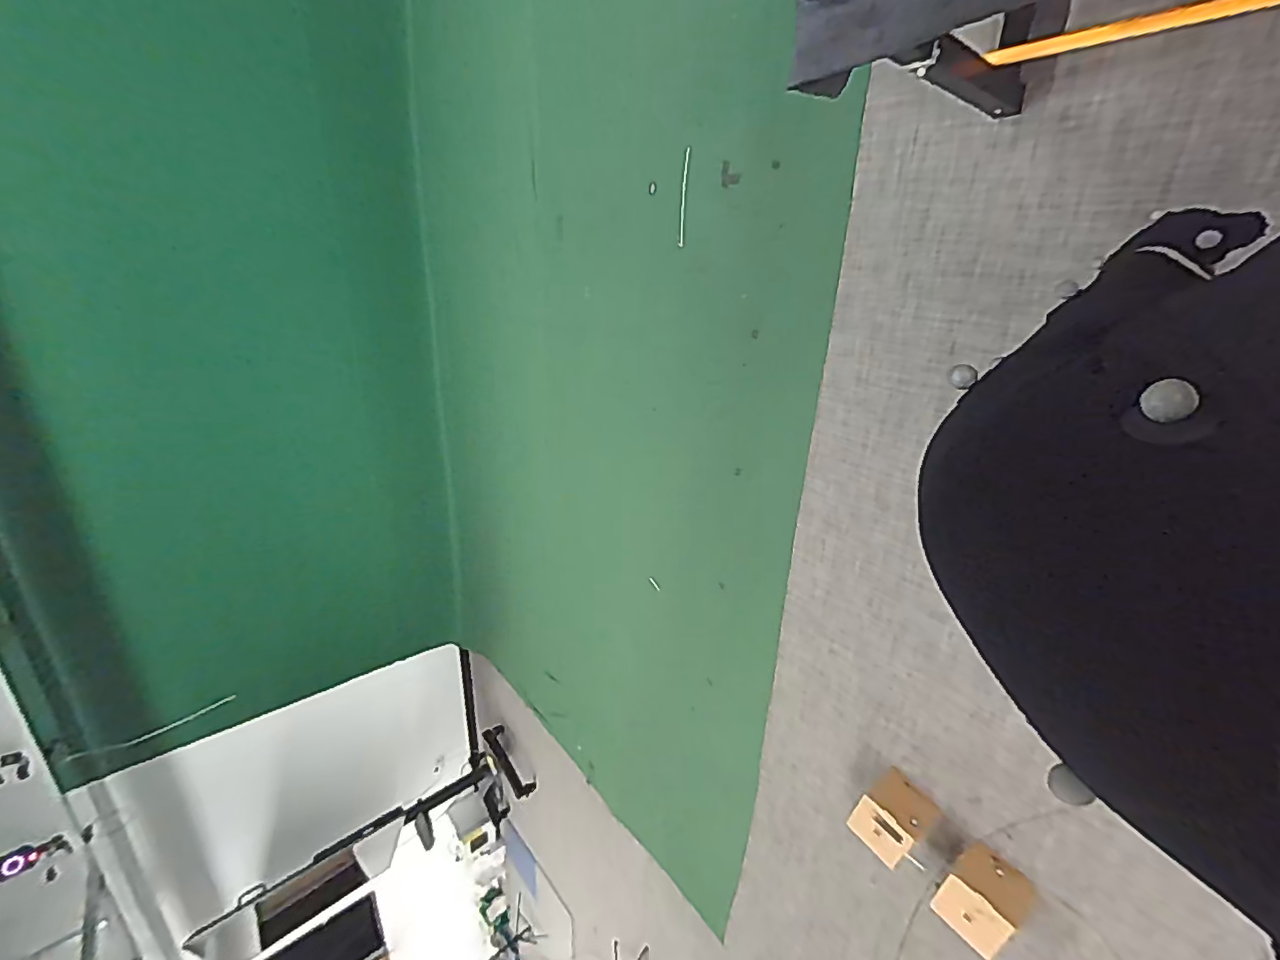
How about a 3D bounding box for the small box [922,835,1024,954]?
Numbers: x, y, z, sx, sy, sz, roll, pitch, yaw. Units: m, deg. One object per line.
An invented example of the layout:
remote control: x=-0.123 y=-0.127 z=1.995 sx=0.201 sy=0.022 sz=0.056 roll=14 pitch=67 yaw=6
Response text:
small box: x=0.941 y=1.159 z=1.524 sx=0.168 sy=0.176 sz=0.179 roll=34 pitch=125 yaw=39
